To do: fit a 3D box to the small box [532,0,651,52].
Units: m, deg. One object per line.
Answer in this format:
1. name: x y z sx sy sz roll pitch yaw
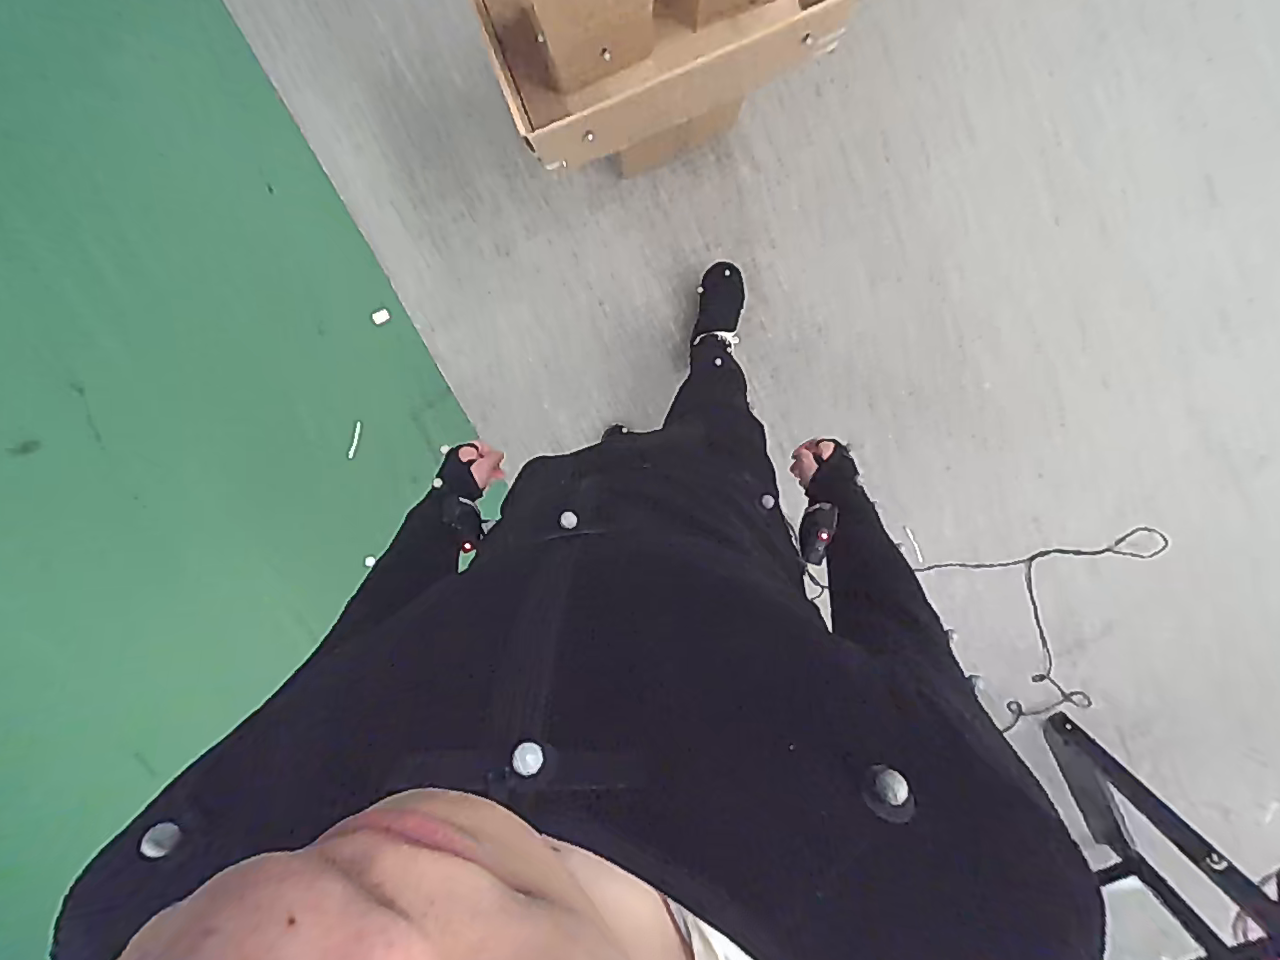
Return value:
1. small box: -0.091 -0.768 0.772 0.179 0.176 0.168 -19 102 7
